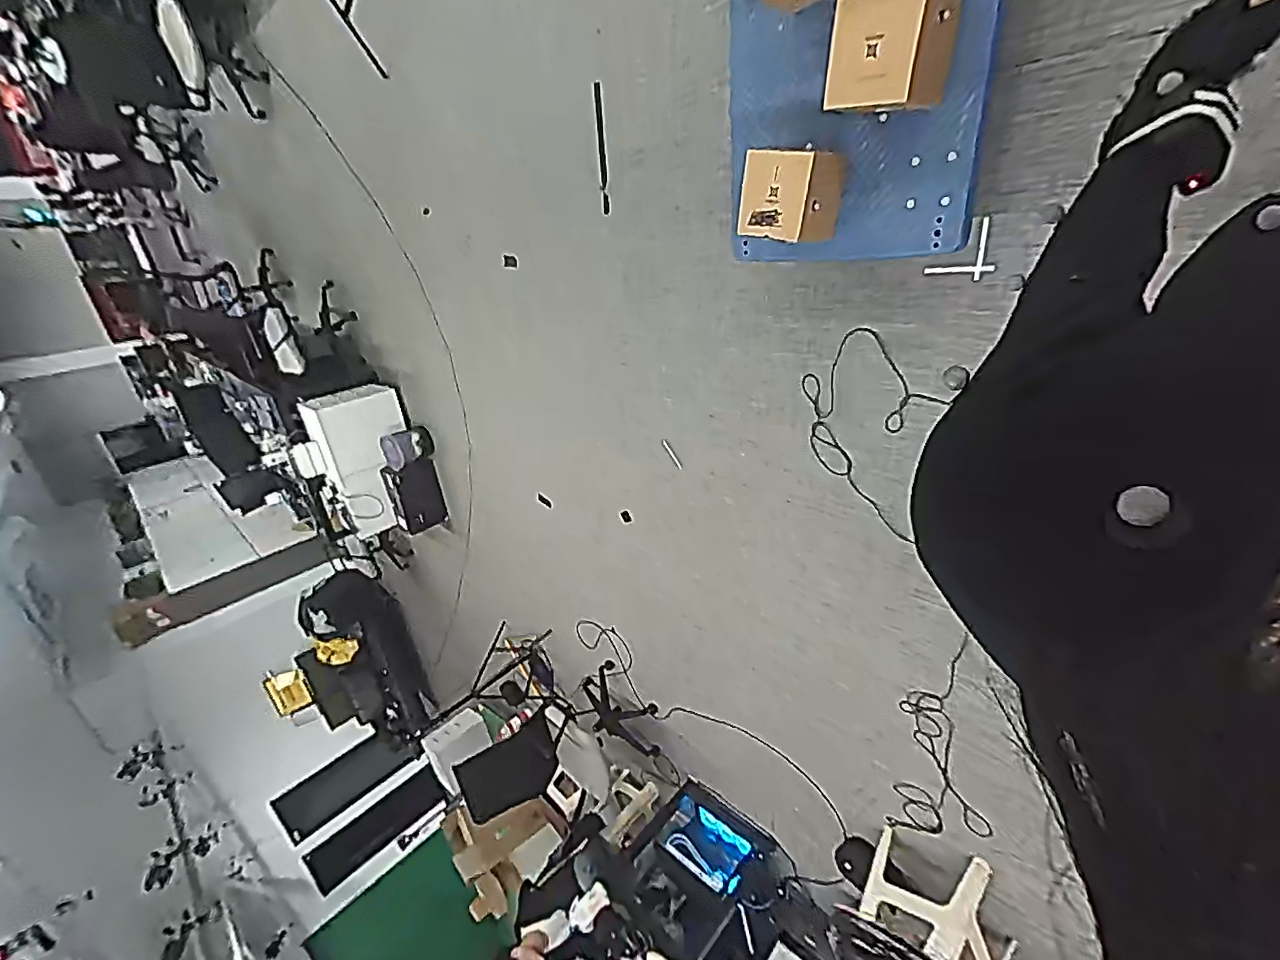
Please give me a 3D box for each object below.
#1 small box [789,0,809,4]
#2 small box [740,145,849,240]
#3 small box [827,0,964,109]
[{"bbox_3d":[0.333,-1.056,1.034,0.179,0.176,0.168,15,123,44],"label":"small box"},{"bbox_3d":[0.354,-0.661,1.239,0.168,0.176,0.179,28,129,35],"label":"small box"},{"bbox_3d":[0.479,-0.812,1.015,0.168,0.176,0.179,26,130,39],"label":"small box"}]
